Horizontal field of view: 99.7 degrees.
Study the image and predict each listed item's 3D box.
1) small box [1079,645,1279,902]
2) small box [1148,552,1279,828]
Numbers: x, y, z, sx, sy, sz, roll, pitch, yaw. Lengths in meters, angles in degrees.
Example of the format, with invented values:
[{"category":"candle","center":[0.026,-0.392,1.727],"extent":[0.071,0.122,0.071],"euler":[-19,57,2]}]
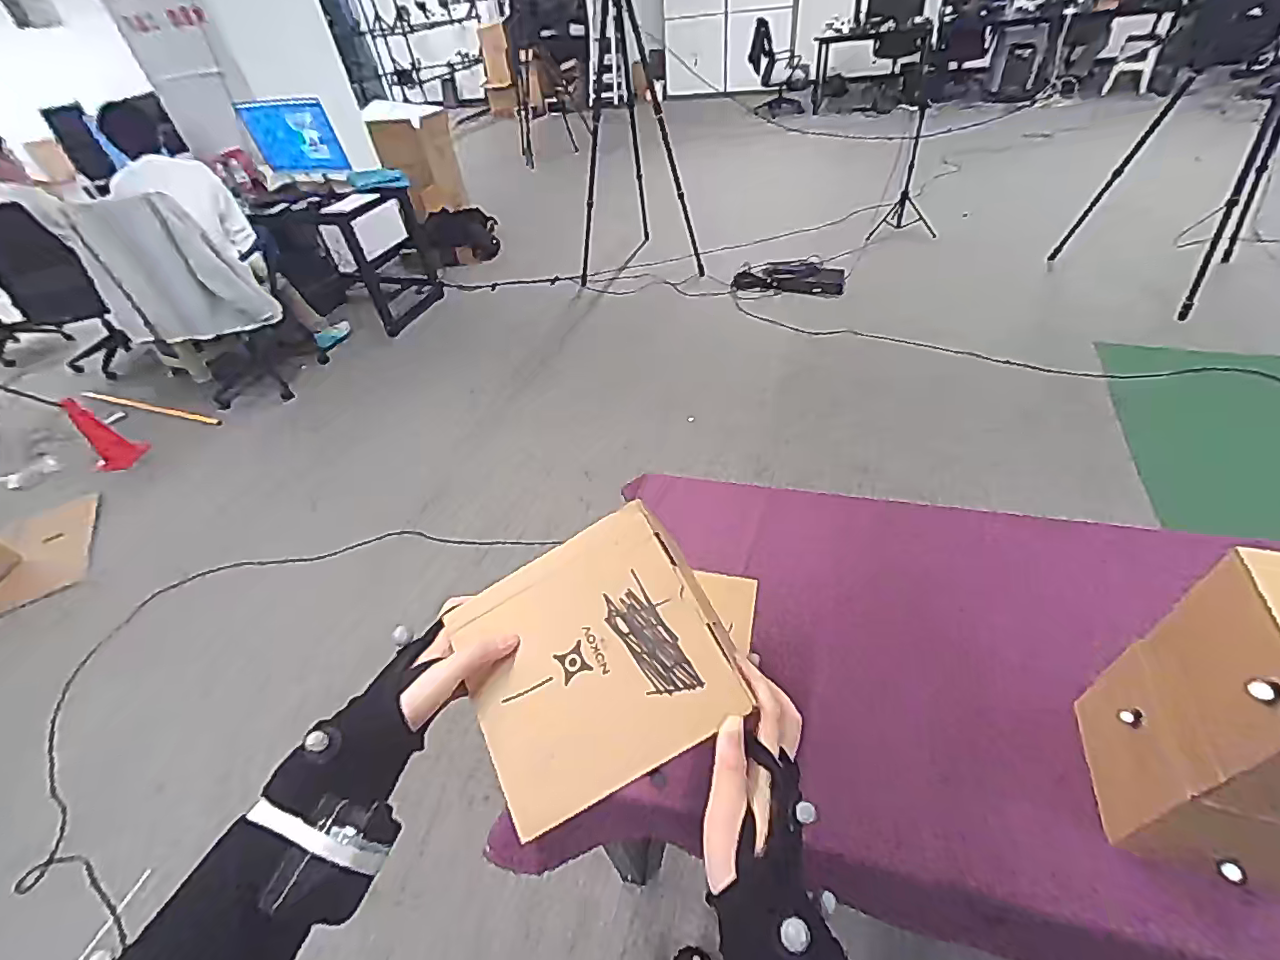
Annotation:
[{"category":"small box","center":[0.620,0.314,0.587],"extent":[0.168,0.176,0.179],"euler":[9,46,18]},{"category":"small box","center":[0.606,0.195,0.475],"extent":[0.168,0.176,0.179],"euler":[9,46,17]}]
